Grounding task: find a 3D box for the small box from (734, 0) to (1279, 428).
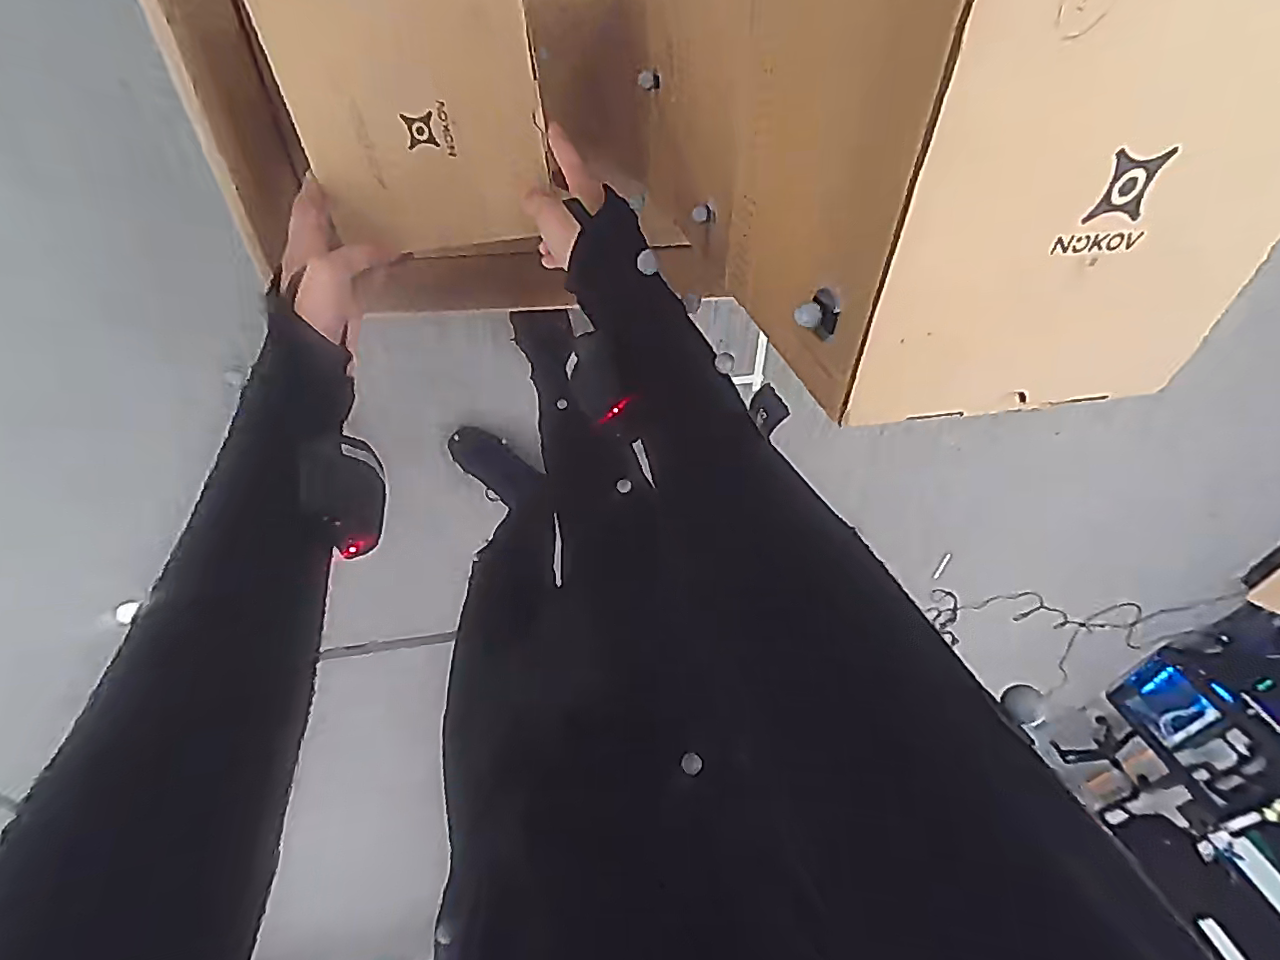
[{"bbox_3d":[0.151,-0.149,0.245,0.168,0.176,0.179,-7,132,-8],"label":"small box"}]
